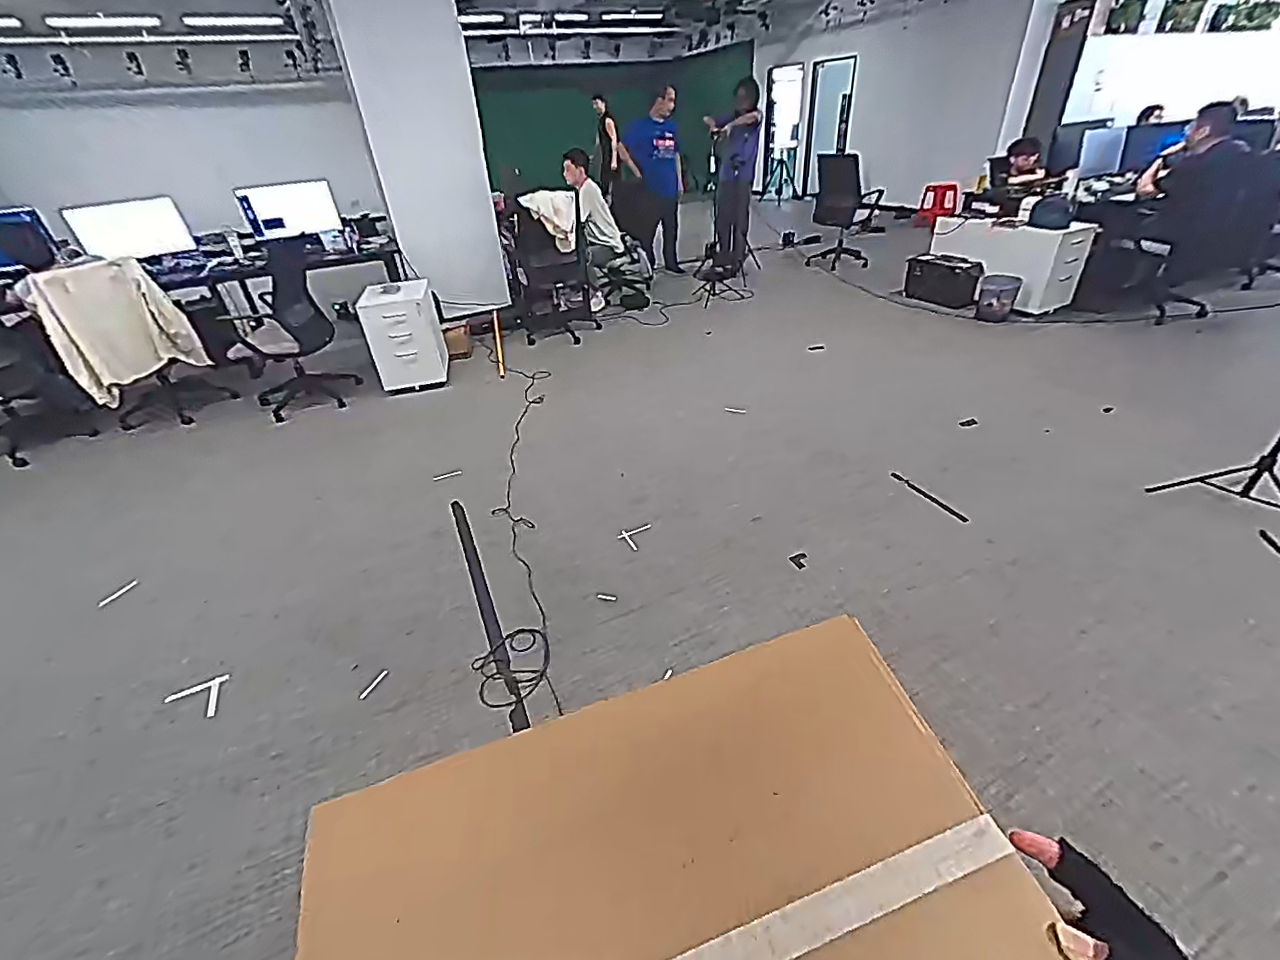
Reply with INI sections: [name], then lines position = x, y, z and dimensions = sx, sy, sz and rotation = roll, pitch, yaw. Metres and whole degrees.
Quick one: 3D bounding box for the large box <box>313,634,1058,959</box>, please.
[large box]
position = 0.035, 0.380, 0.402
dimensions = 0.408, 0.320, 0.320
rotation = -17, 46, -9
